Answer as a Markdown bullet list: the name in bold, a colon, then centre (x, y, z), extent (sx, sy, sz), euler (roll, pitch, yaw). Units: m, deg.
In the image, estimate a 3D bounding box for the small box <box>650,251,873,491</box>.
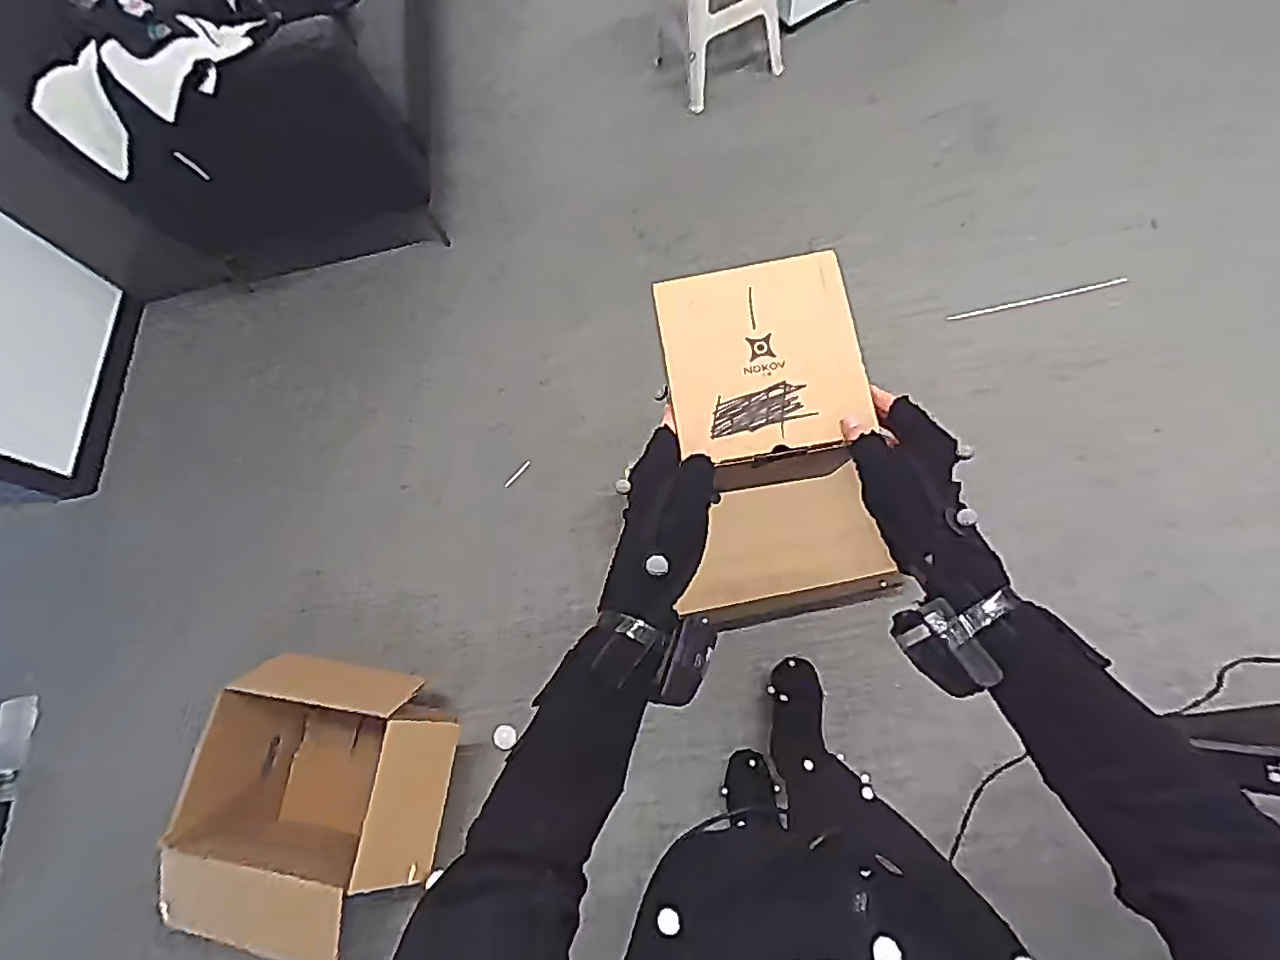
- **small box**: centre (0.109, -0.091, 0.543), extent (0.168, 0.176, 0.179), euler (-10, 78, 3)
